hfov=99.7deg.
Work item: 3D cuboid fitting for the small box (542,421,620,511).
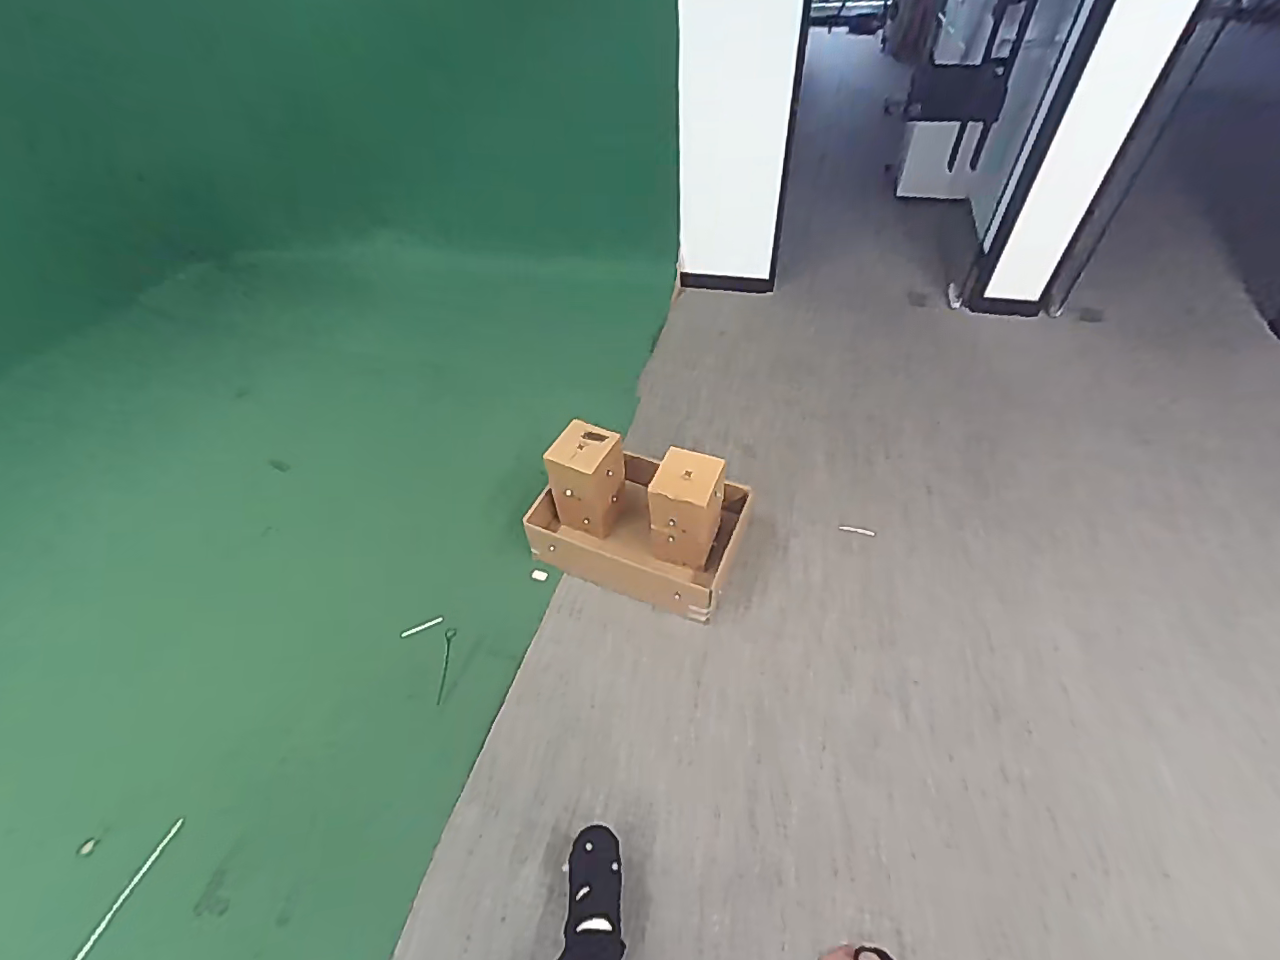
[{"bbox_3d":[-0.168,-0.041,1.625,0.168,0.176,0.179,20,54,19],"label":"small box"}]

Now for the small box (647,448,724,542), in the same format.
[{"bbox_3d":[0.129,0.044,1.525,0.168,0.176,0.179,16,53,18],"label":"small box"}]
